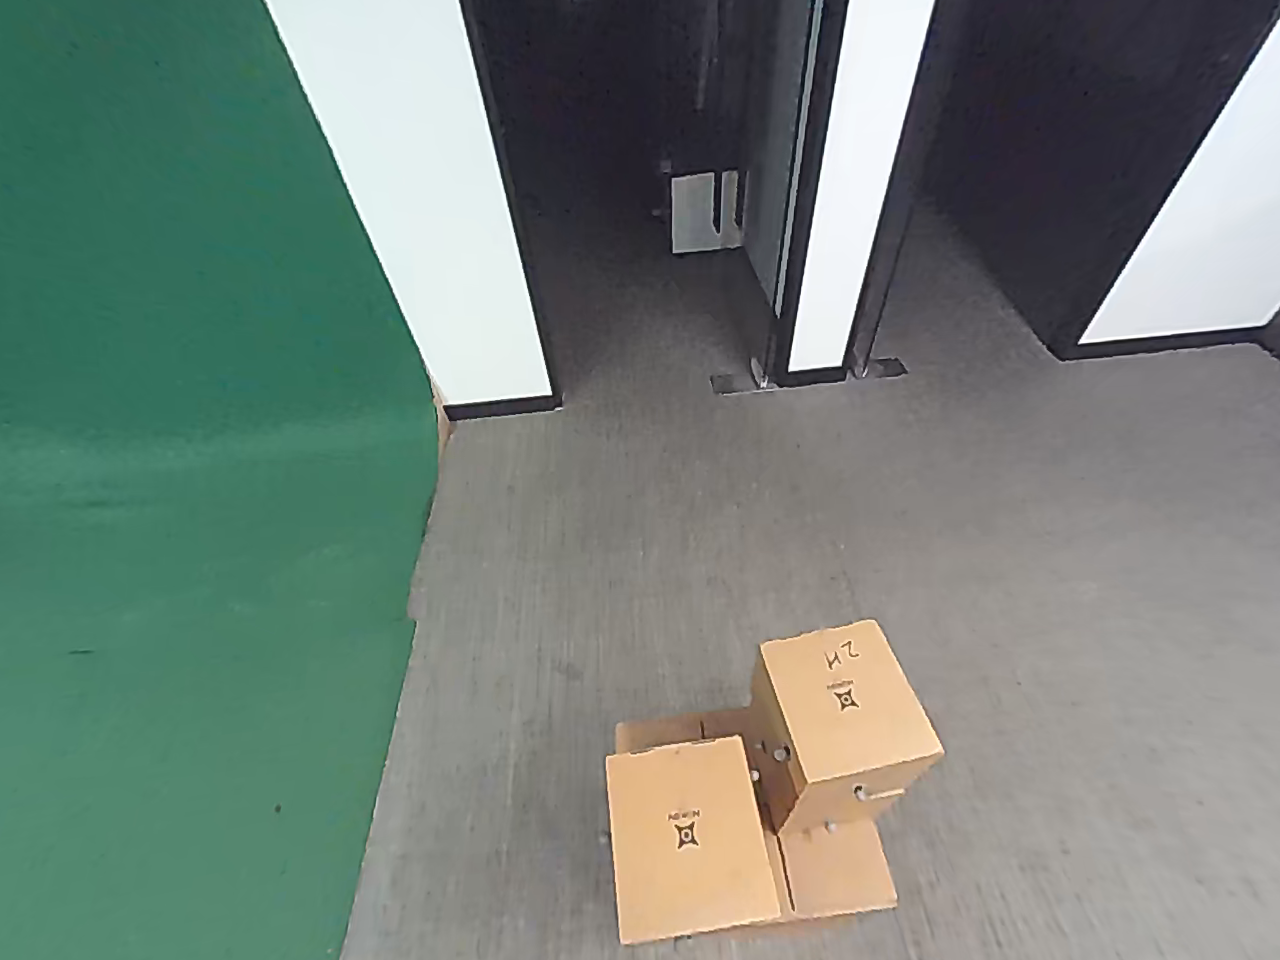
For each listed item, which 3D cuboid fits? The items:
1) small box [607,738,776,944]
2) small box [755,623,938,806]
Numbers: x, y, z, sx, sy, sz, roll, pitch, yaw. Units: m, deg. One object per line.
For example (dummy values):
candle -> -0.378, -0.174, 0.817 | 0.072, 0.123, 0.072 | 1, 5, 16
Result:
small box -> 0.055, 0.438, 0.660 | 0.168, 0.176, 0.179 | -8, 50, -2
small box -> 0.263, 0.325, 0.737 | 0.168, 0.176, 0.179 | -11, 48, -2
